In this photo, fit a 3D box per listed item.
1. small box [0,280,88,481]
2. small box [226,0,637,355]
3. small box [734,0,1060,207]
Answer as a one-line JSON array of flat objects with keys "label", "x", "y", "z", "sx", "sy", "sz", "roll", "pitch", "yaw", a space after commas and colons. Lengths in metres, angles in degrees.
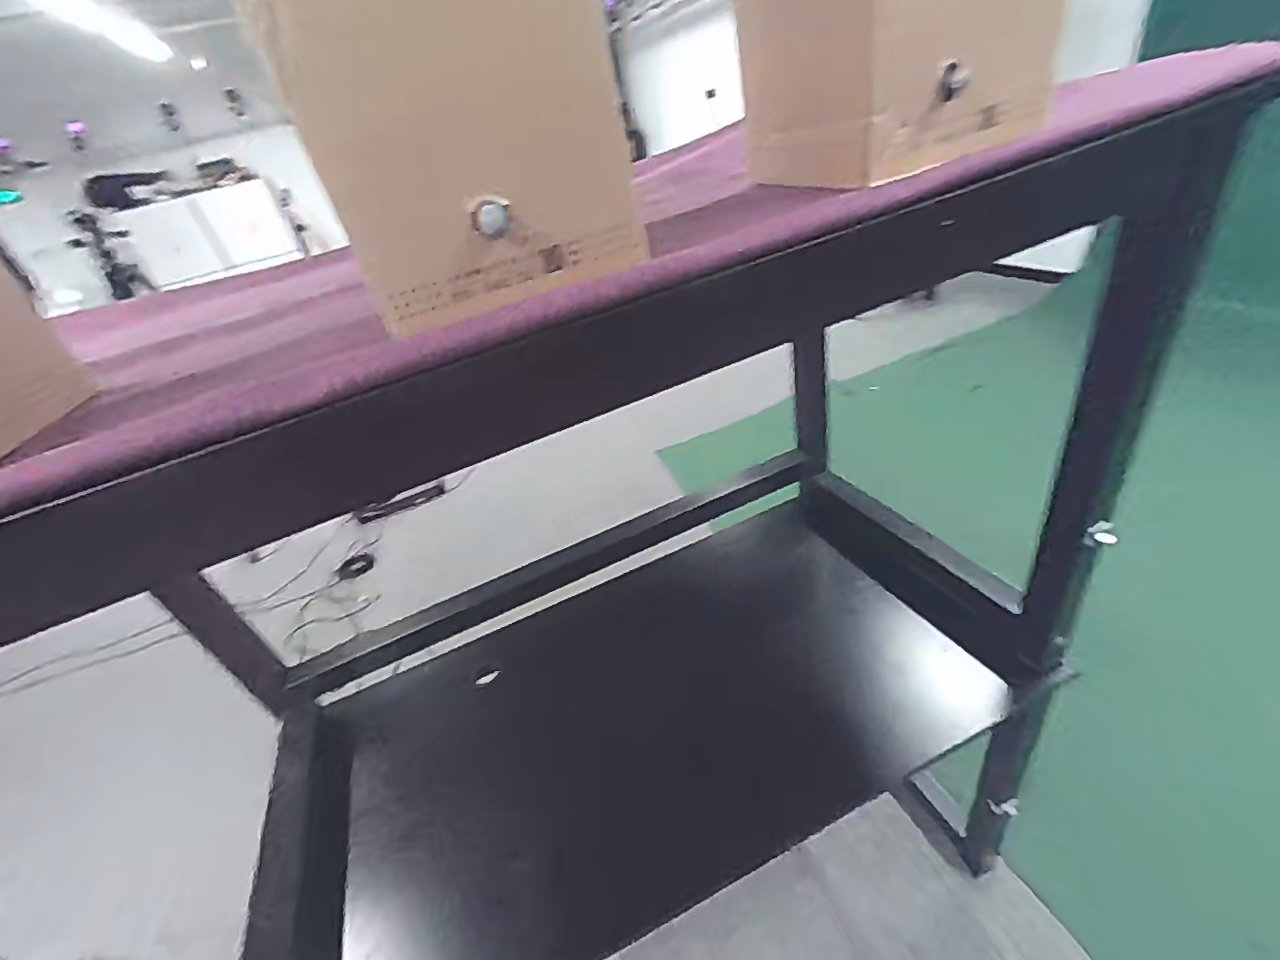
[{"label": "small box", "x": -0.449, "y": -0.054, "z": 0.268, "sx": 0.168, "sy": 0.176, "sz": 0.179, "roll": -23, "pitch": 34, "yaw": -12}, {"label": "small box", "x": -0.117, "y": -0.201, "z": 0.358, "sx": 0.168, "sy": 0.176, "sz": 0.179, "roll": -22, "pitch": 36, "yaw": -11}, {"label": "small box", "x": 0.188, "y": -0.330, "z": 0.430, "sx": 0.168, "sy": 0.176, "sz": 0.179, "roll": -22, "pitch": 36, "yaw": -10}]
